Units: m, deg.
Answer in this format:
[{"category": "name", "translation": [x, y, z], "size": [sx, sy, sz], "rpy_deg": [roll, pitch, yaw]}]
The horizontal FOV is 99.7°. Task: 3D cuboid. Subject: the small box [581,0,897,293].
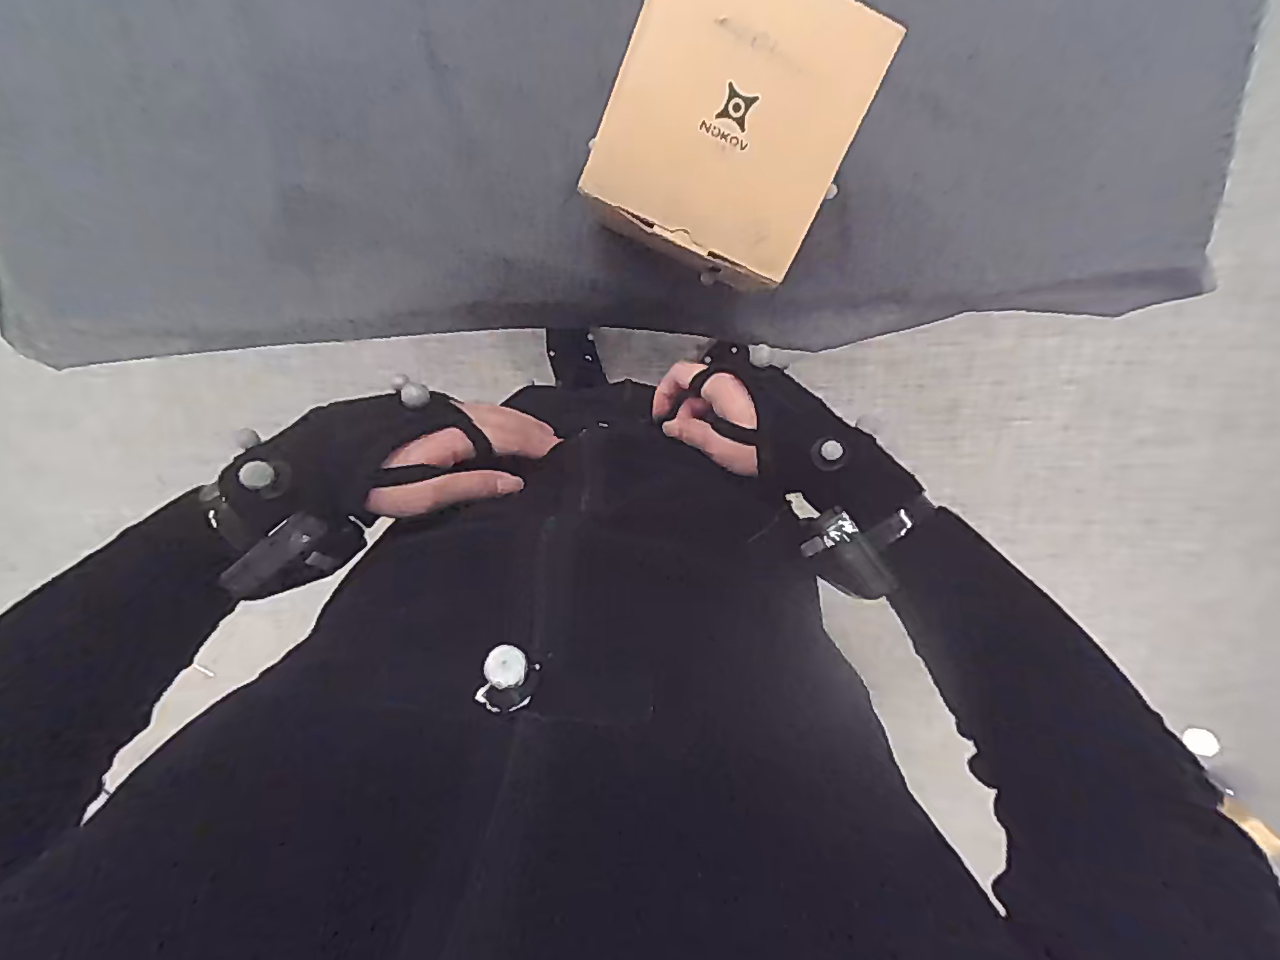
[{"category": "small box", "translation": [0.065, -0.269, 0.447], "size": [0.168, 0.176, 0.179], "rpy_deg": [22, 107, -7]}]
